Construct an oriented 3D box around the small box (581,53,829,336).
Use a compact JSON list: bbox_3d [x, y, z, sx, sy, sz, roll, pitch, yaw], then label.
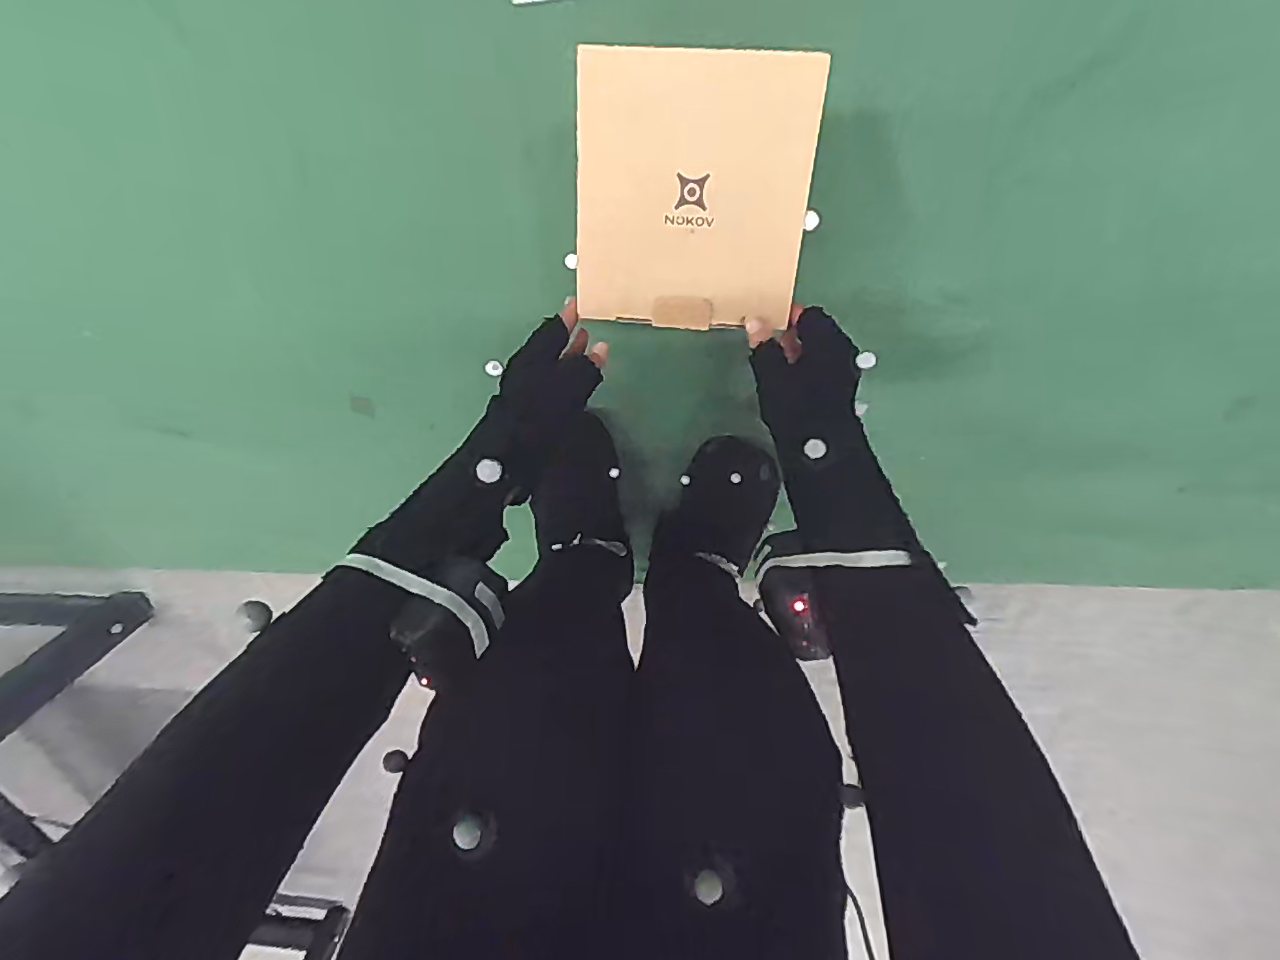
[{"bbox_3d":[0.045,-0.229,0.462,0.168,0.176,0.179,5,114,4],"label":"small box"}]
